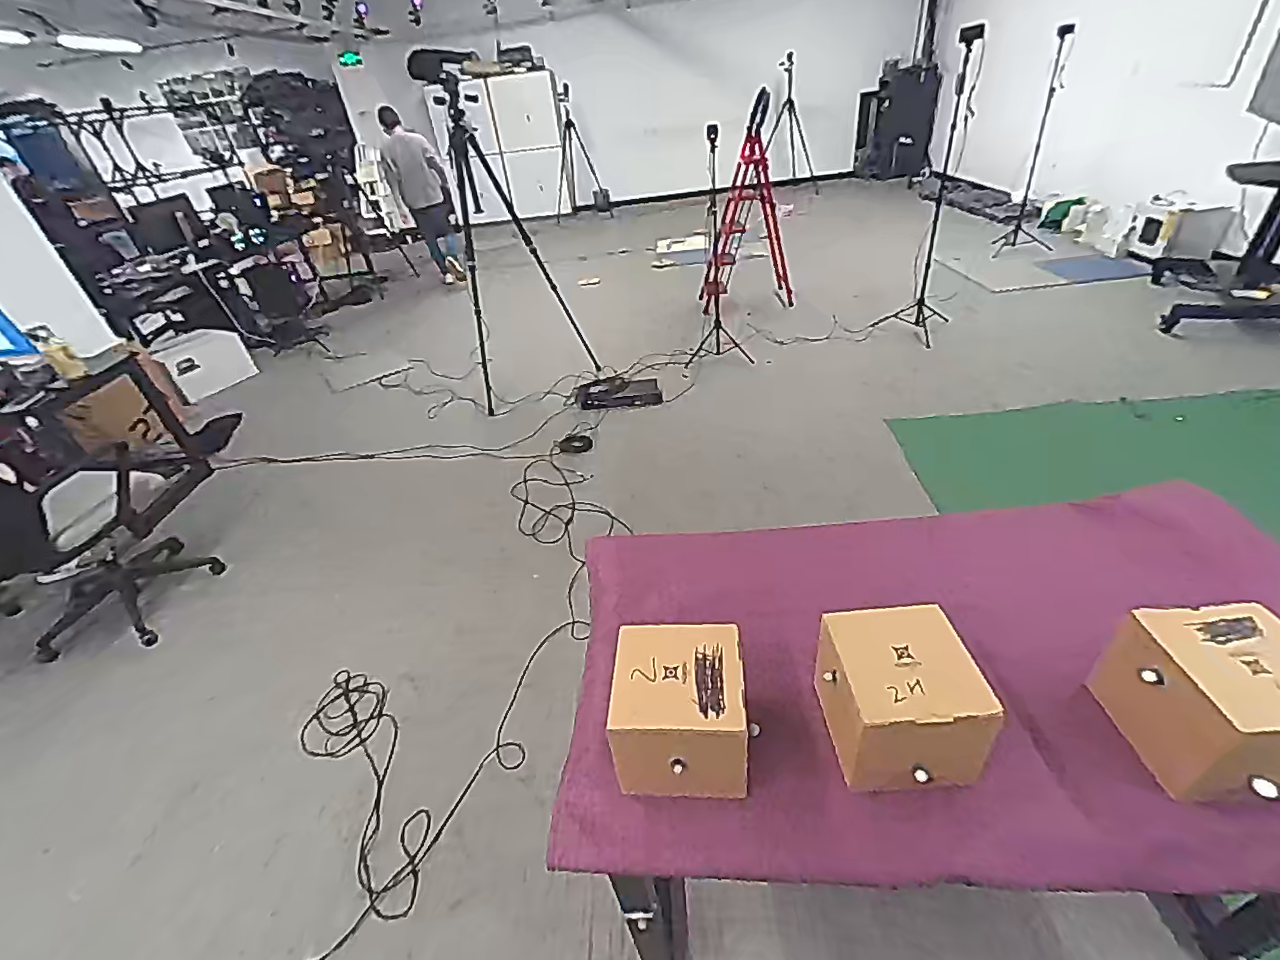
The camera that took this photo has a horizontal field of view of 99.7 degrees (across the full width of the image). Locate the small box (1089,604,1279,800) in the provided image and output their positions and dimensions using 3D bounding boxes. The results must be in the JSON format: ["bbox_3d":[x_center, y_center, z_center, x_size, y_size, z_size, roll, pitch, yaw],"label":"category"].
[{"bbox_3d":[0.745,0.286,0.704,0.168,0.176,0.179,-5,36,4],"label":"small box"}]

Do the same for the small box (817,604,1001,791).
[{"bbox_3d":[0.353,0.300,0.754,0.168,0.176,0.179,-6,34,3],"label":"small box"}]
